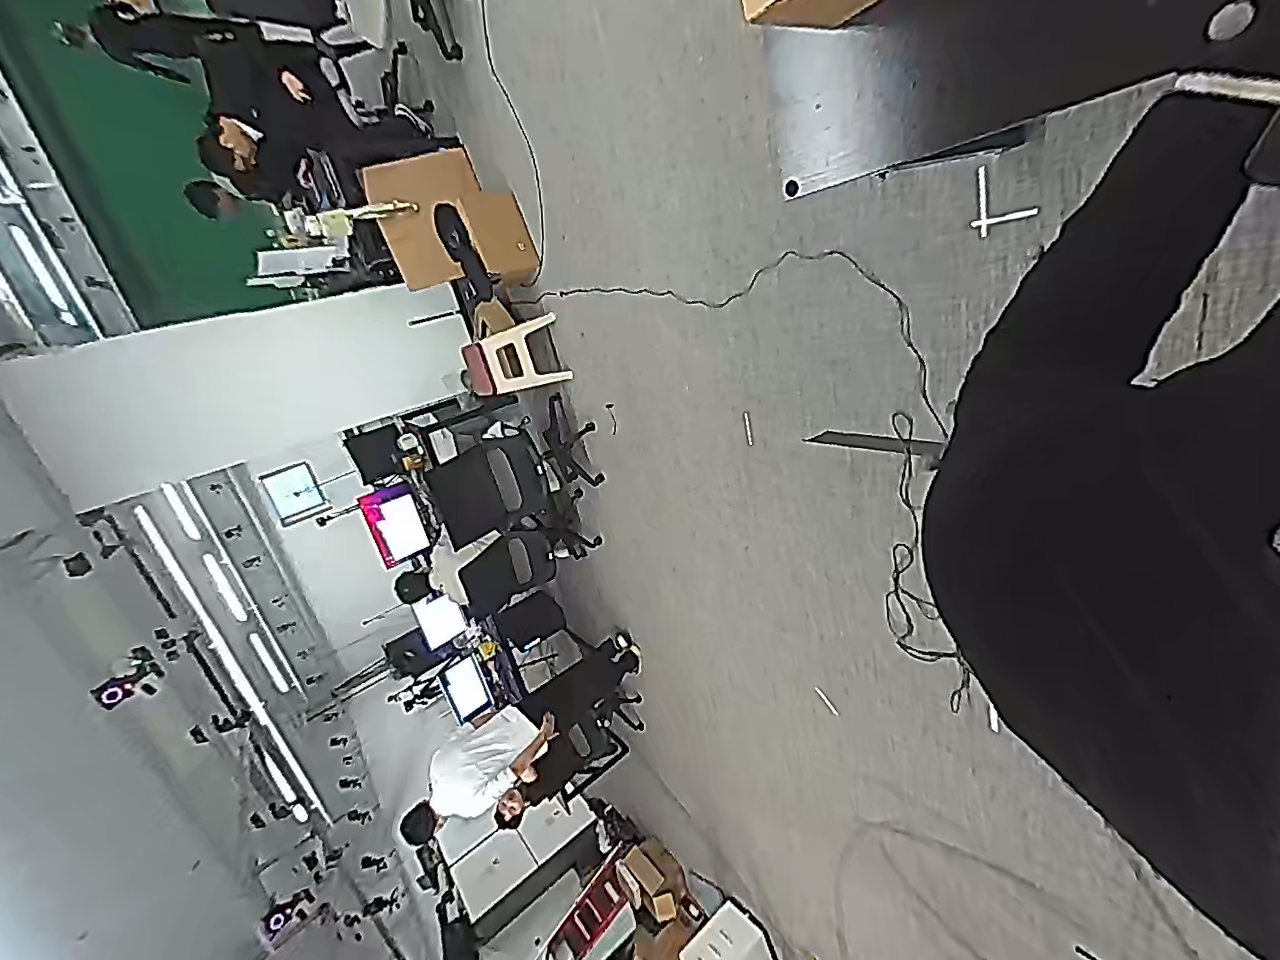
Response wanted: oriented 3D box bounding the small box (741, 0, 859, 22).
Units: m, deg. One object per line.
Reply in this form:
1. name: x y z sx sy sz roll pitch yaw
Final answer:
1. small box: 0.212 -0.634 0.579 0.168 0.176 0.179 12 122 52
